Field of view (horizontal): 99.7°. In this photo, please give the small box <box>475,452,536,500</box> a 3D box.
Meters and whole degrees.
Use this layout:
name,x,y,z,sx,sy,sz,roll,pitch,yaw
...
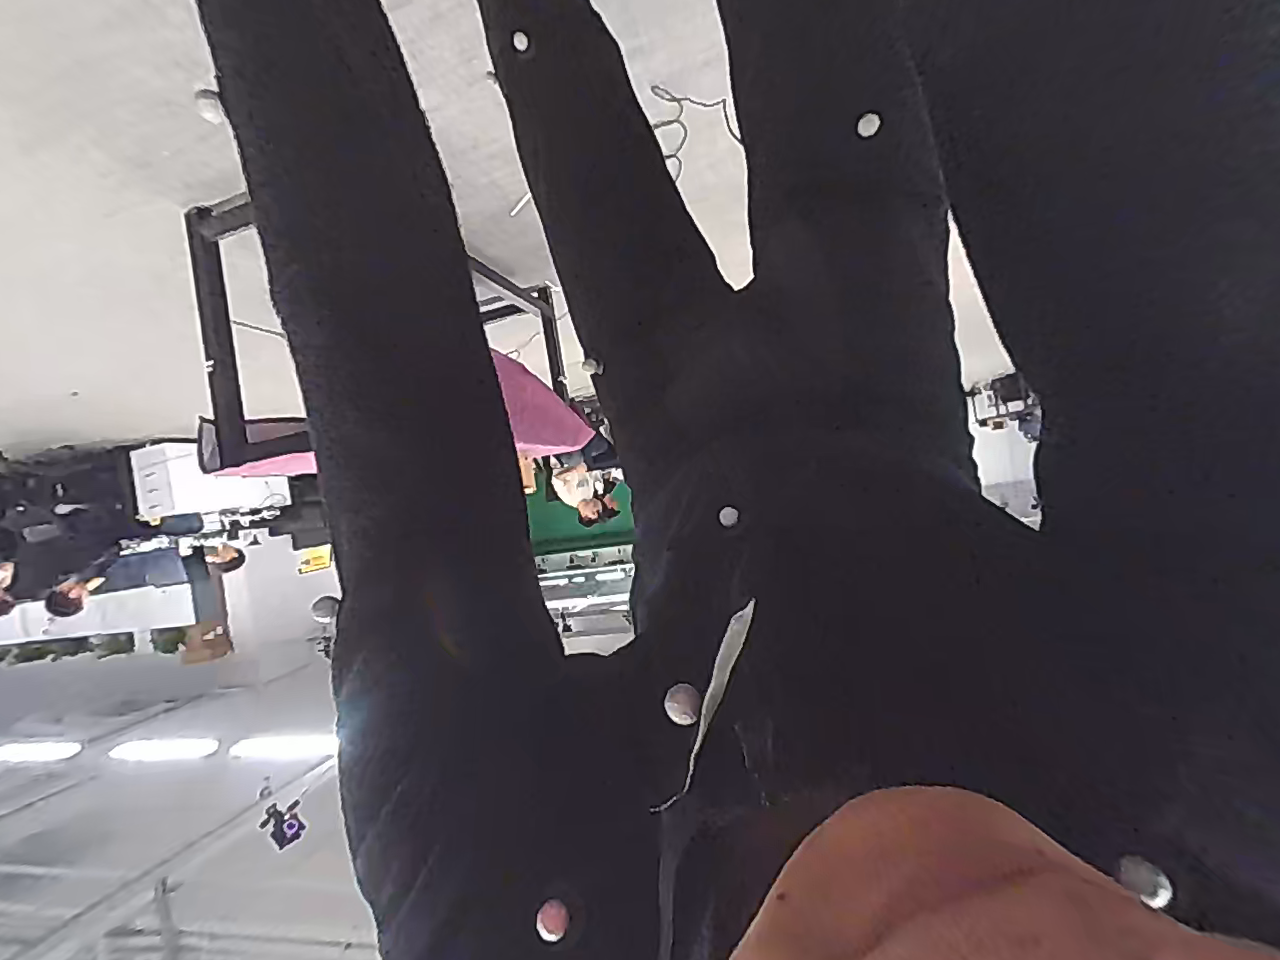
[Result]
name,x,y,z,sx,sy,sz,roll,pitch,yaw
small box,-0.552,-0.021,2.209,0.179,0.176,0.168,-8,180,25
